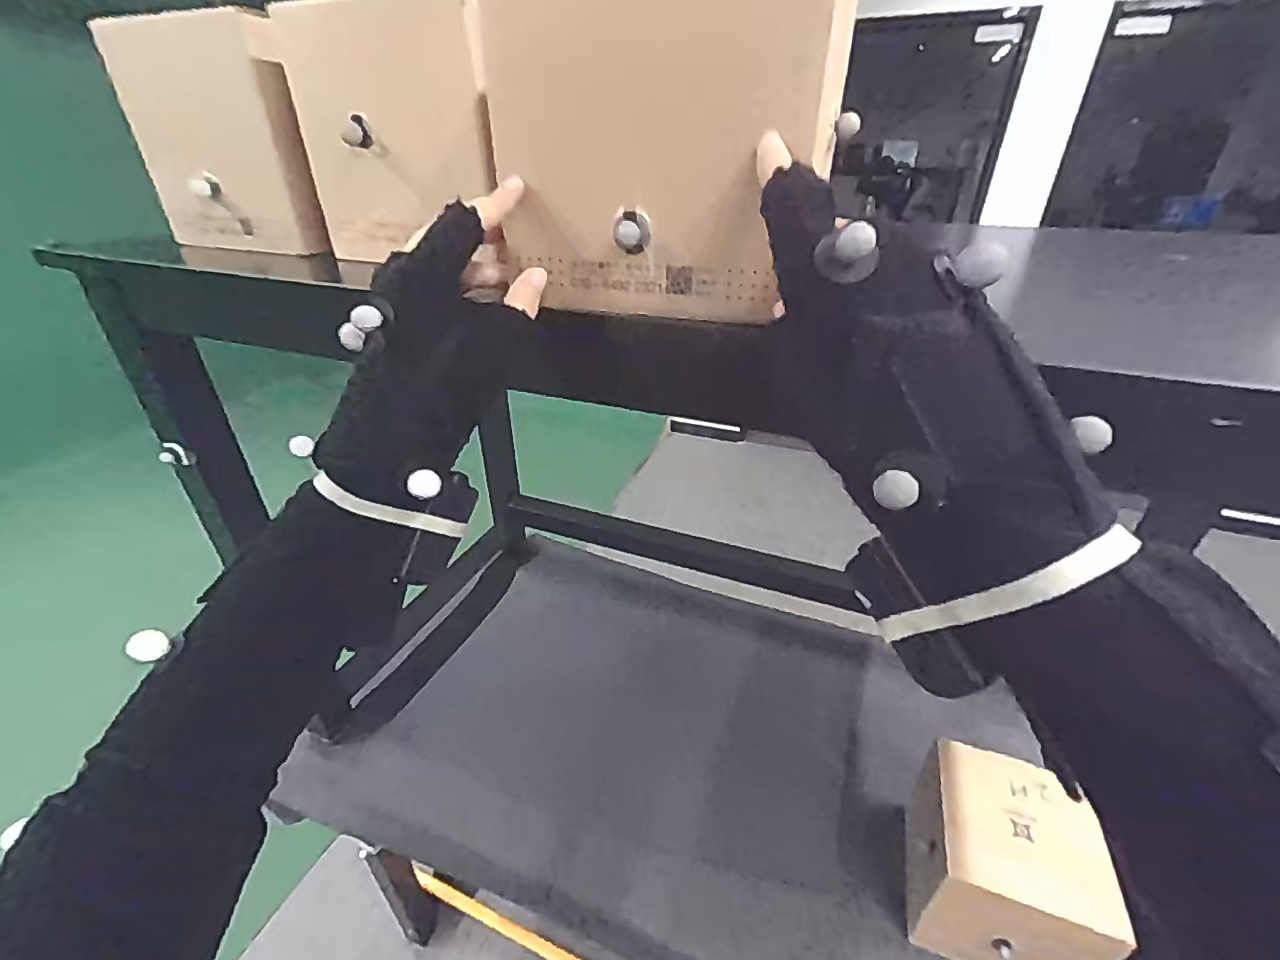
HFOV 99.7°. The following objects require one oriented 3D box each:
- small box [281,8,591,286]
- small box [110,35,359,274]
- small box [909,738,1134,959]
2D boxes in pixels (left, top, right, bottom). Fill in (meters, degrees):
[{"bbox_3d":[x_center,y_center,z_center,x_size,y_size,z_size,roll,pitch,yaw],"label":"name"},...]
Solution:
[{"bbox_3d":[-0.149,-0.270,0.465,0.168,0.176,0.179,11,32,19],"label":"small box"},{"bbox_3d":[-0.331,-0.309,0.527,0.168,0.176,0.179,11,33,18],"label":"small box"},{"bbox_3d":[0.433,0.461,0.650,0.168,0.176,0.179,12,31,19],"label":"small box"}]
